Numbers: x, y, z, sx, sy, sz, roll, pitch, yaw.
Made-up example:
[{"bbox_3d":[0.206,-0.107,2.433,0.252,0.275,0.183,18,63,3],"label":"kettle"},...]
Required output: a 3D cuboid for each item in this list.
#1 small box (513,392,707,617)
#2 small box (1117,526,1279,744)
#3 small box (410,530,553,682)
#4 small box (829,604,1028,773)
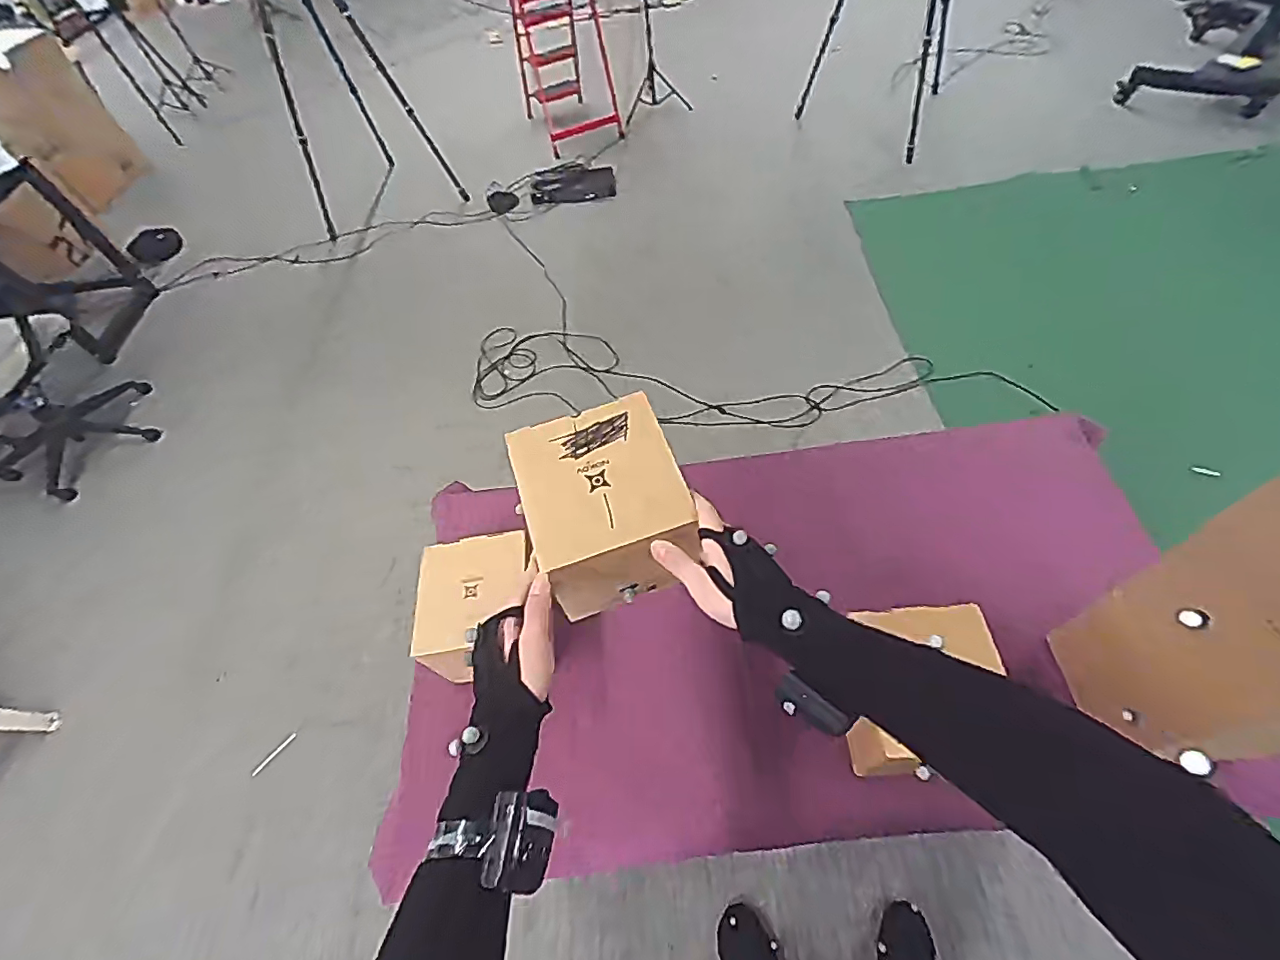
[{"bbox_3d":[-0.032,0.034,0.628,0.168,0.176,0.179,-18,61,-5],"label":"small box"},{"bbox_3d":[0.657,0.159,0.555,0.168,0.176,0.179,-5,54,7],"label":"small box"},{"bbox_3d":[-0.240,0.204,0.861,0.168,0.176,0.179,-10,56,2],"label":"small box"},{"bbox_3d":[0.361,0.283,0.719,0.168,0.176,0.179,-6,54,5],"label":"small box"}]
